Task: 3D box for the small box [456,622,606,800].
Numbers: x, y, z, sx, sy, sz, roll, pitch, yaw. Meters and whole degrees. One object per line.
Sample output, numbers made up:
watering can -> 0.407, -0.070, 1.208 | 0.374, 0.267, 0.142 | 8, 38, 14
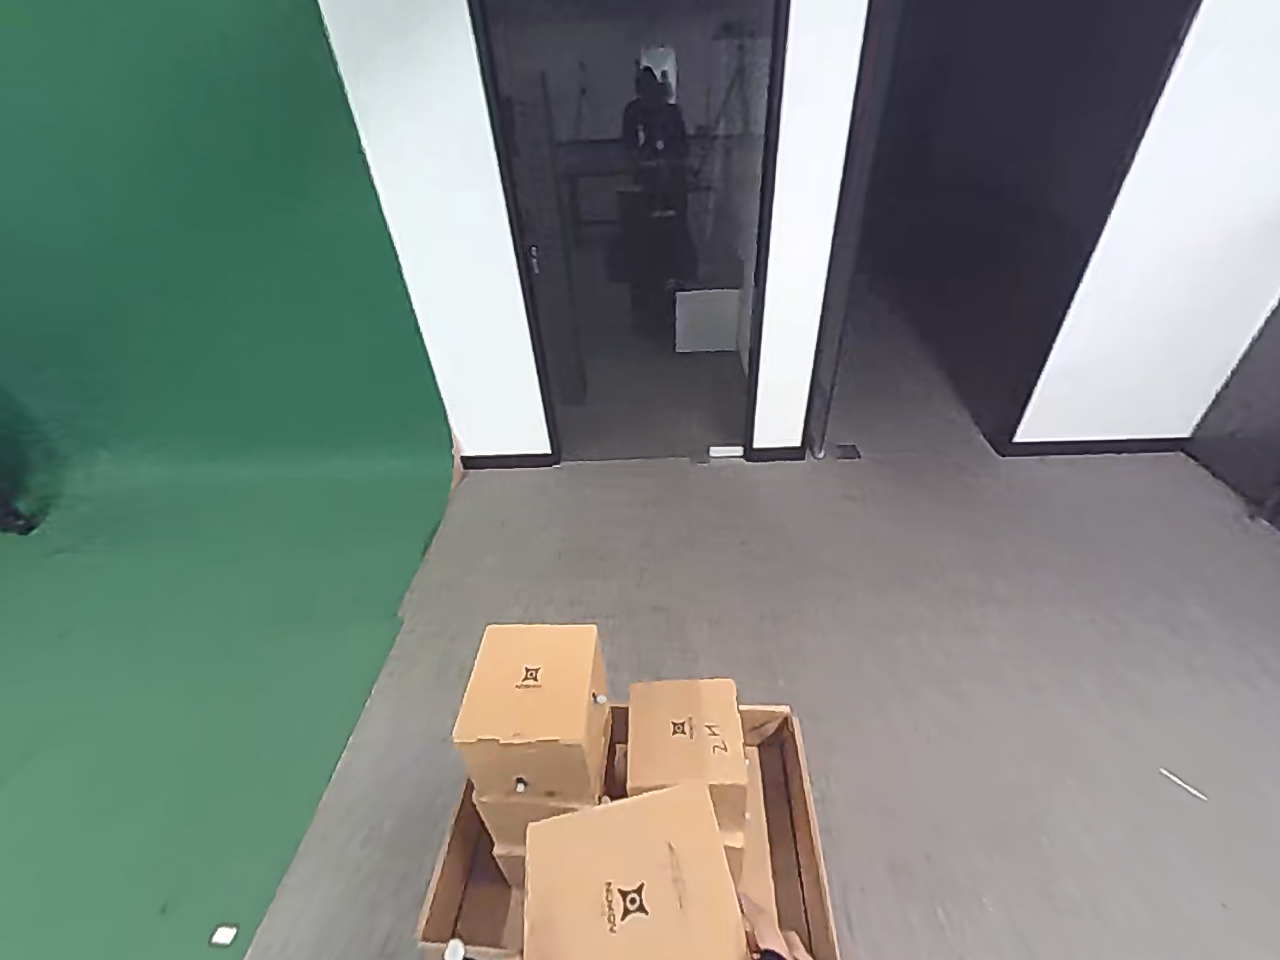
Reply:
small box -> -0.141, 0.326, 0.773 | 0.168, 0.176, 0.179 | -1, 38, 3
